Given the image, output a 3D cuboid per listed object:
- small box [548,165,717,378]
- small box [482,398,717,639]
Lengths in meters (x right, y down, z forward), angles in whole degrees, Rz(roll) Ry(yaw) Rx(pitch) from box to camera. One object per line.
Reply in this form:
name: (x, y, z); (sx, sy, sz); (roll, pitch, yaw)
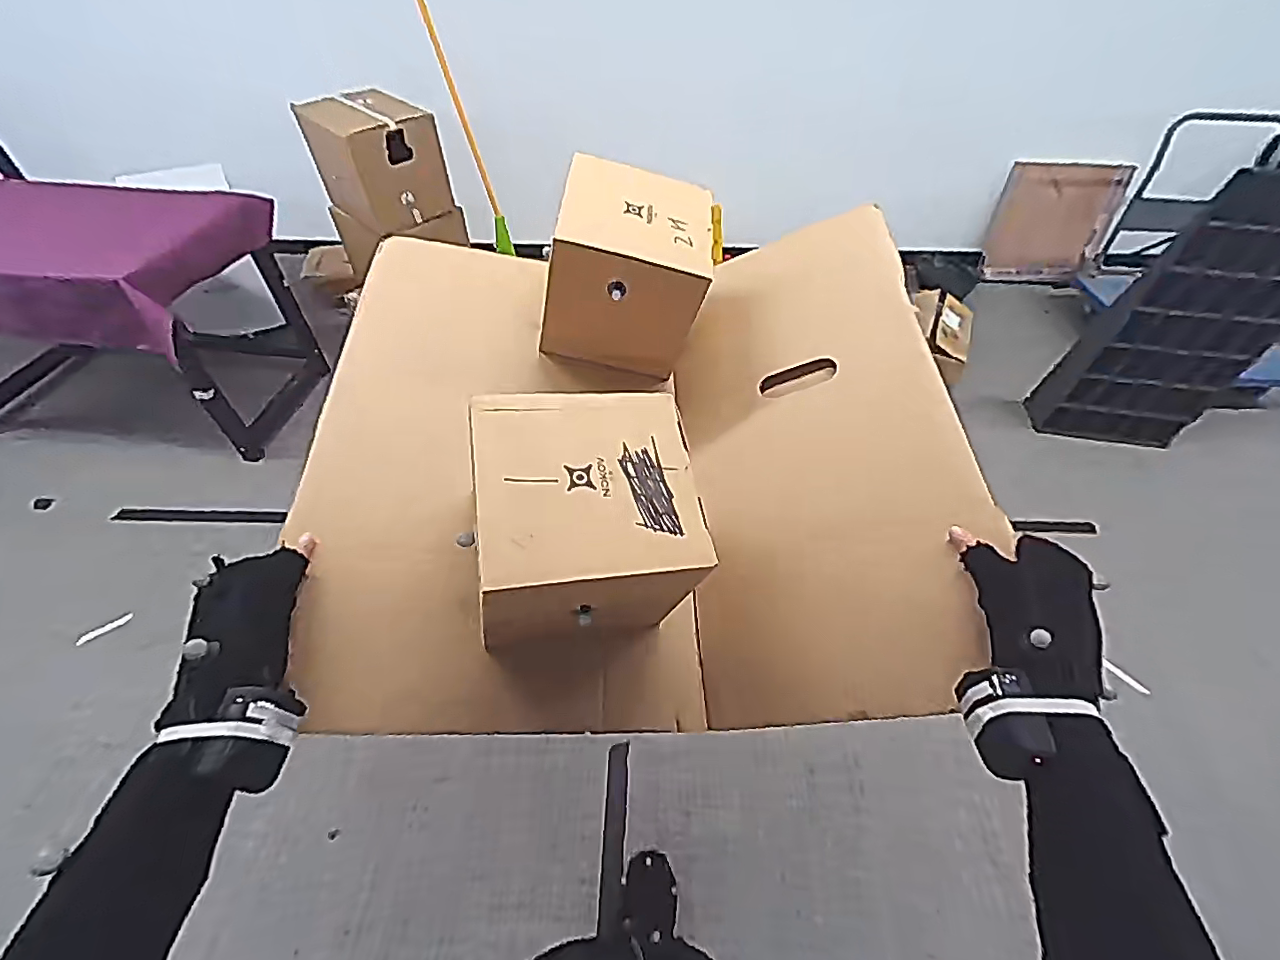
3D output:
small box: (-0.014, -0.253, 0.687); (0.179, 0.176, 0.168); (12, 58, -10)
small box: (-0.053, 0.040, 0.503); (0.179, 0.176, 0.168); (-3, 62, -17)
